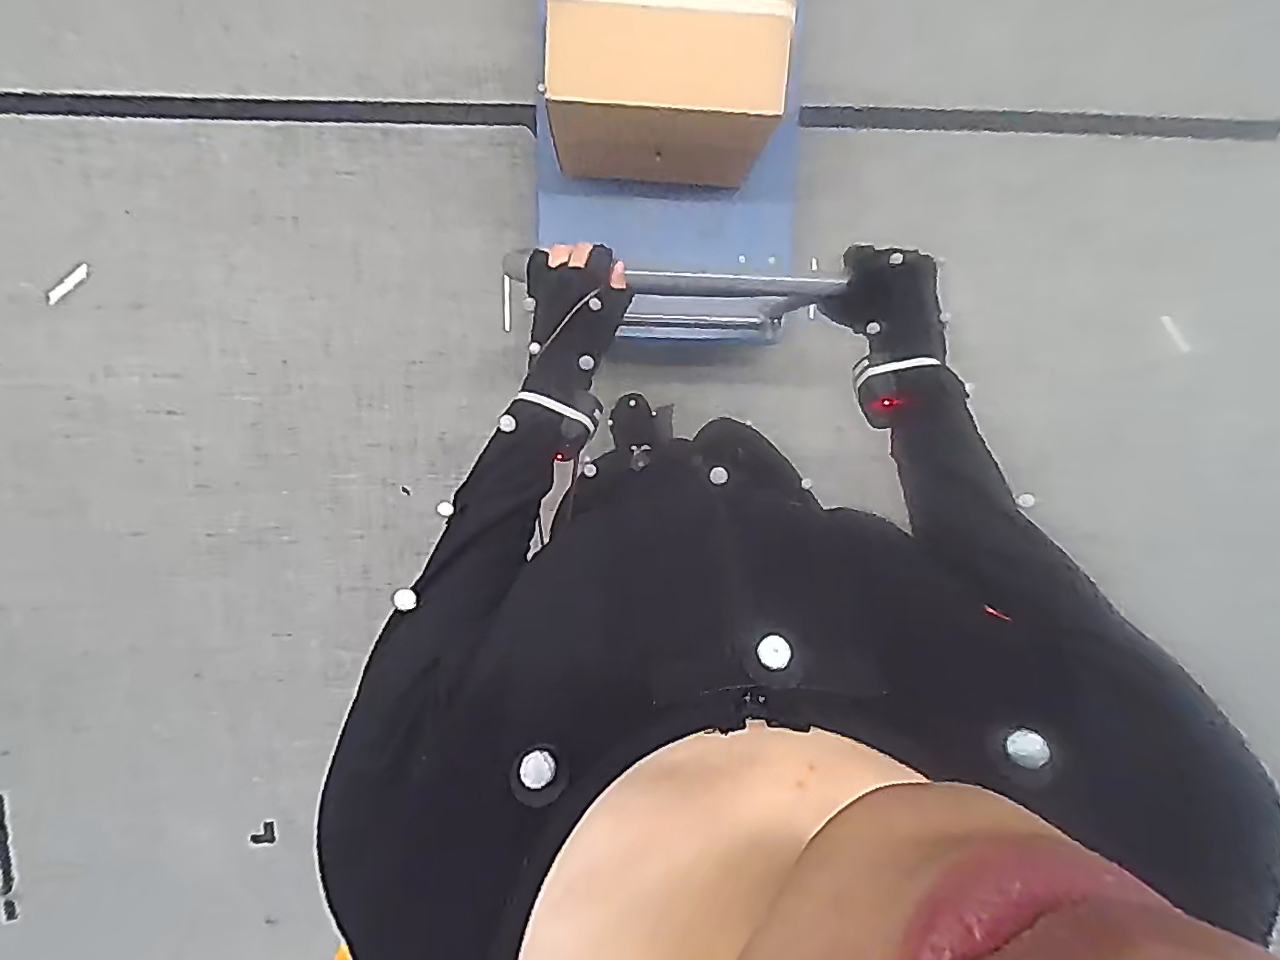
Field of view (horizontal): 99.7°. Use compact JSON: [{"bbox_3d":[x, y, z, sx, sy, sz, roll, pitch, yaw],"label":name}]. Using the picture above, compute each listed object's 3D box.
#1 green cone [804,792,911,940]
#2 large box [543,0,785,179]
[{"bbox_3d":[0.614,1.066,1.472,0.202,0.368,0.200,4,98,-4],"label":"green cone"},{"bbox_3d":[0.038,-0.800,1.033,0.408,0.320,0.320,2,98,-2],"label":"large box"}]
